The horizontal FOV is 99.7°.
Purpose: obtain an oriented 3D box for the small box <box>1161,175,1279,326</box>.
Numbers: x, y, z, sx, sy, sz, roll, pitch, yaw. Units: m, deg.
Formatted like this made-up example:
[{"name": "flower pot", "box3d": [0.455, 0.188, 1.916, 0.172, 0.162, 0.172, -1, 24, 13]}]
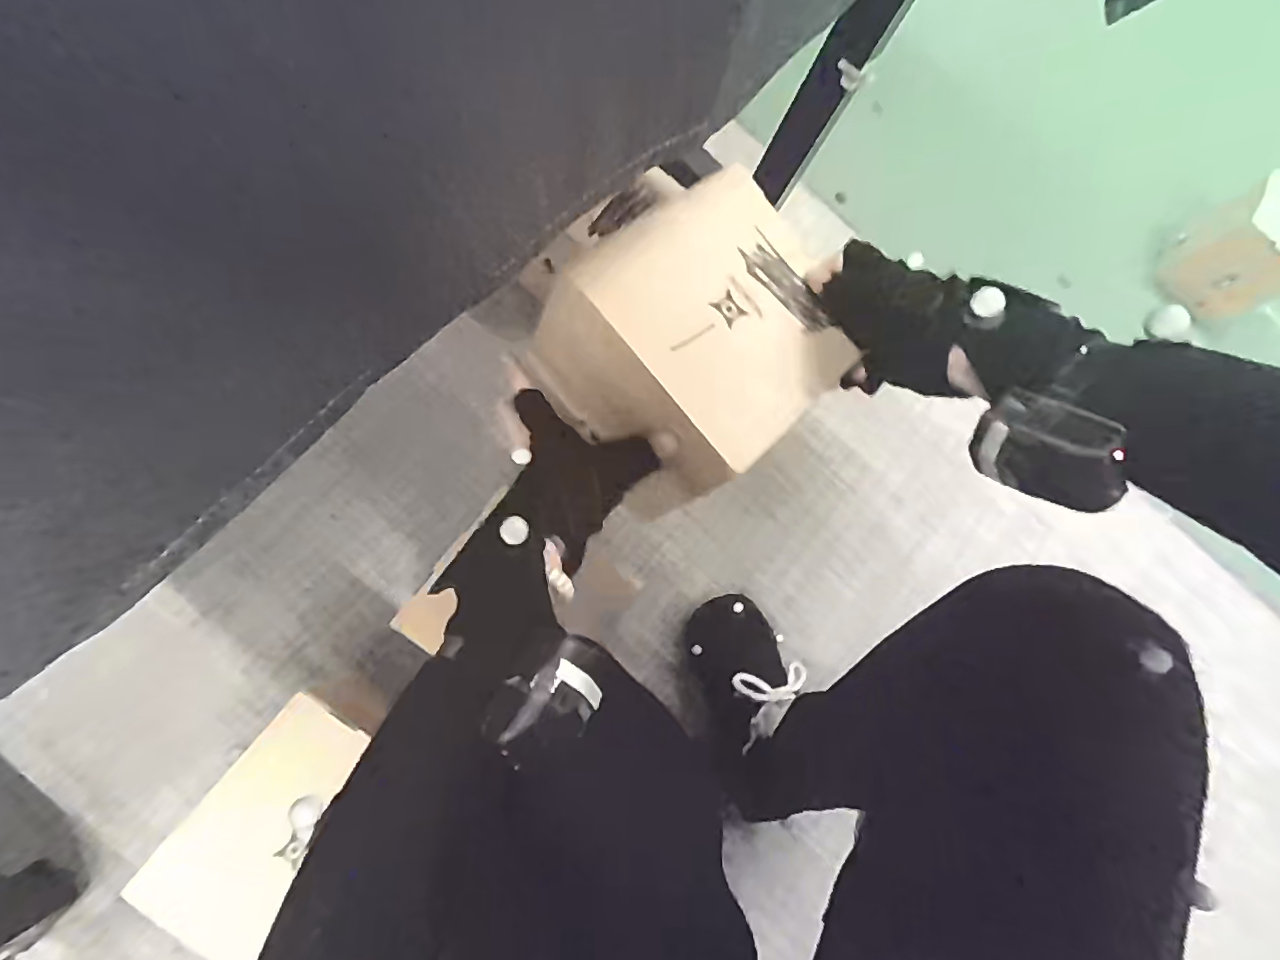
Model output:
[{"name": "small box", "box3d": [1.182, -0.437, 1.052, 0.168, 0.176, 0.179, 42, 71, 0]}]
